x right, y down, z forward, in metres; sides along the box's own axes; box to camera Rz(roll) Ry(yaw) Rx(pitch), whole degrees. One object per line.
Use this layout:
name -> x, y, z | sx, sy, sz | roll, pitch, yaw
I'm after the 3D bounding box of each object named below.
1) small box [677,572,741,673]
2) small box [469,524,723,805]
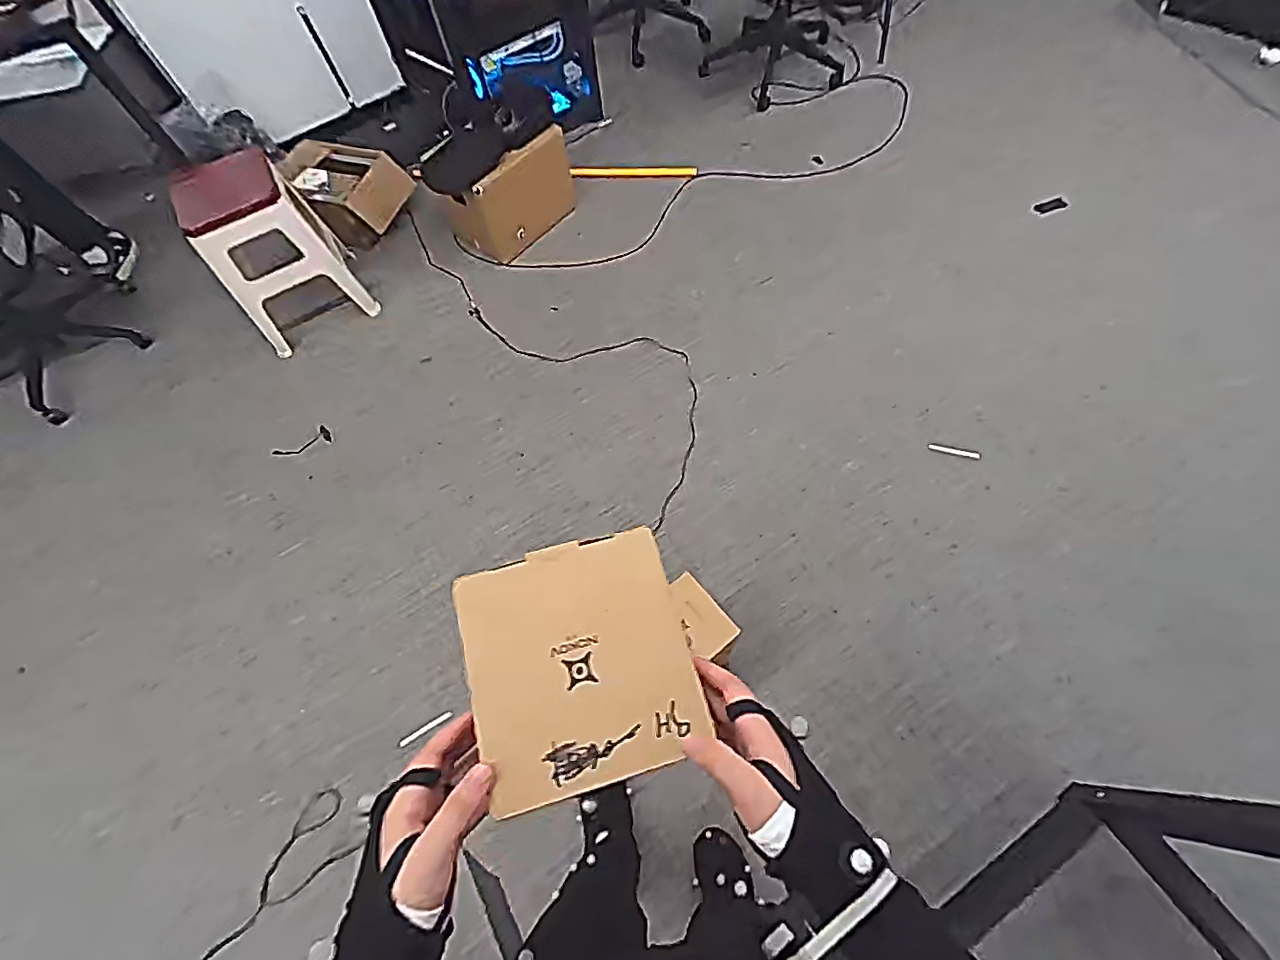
small box -> 0.093, 0.332, 1.152 | 0.179, 0.176, 0.168 | -37, 67, -14
small box -> -0.040, 0.165, 0.487 | 0.168, 0.176, 0.179 | -15, 66, -6
